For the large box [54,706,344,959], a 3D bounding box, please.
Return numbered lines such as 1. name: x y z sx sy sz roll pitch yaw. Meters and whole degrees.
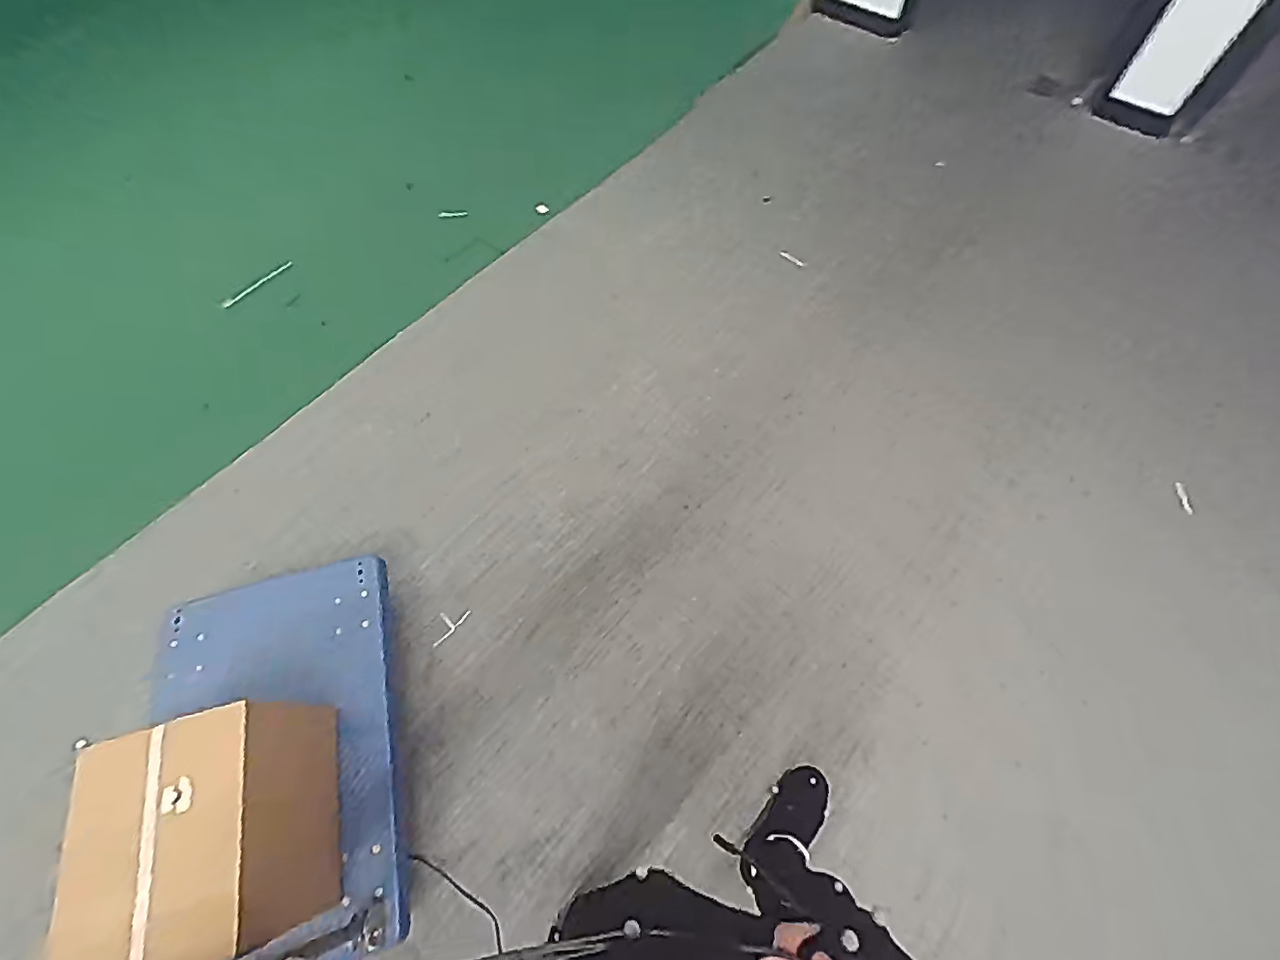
1. large box: -0.822 0.705 1.064 0.320 0.320 0.408 -16 63 -4
